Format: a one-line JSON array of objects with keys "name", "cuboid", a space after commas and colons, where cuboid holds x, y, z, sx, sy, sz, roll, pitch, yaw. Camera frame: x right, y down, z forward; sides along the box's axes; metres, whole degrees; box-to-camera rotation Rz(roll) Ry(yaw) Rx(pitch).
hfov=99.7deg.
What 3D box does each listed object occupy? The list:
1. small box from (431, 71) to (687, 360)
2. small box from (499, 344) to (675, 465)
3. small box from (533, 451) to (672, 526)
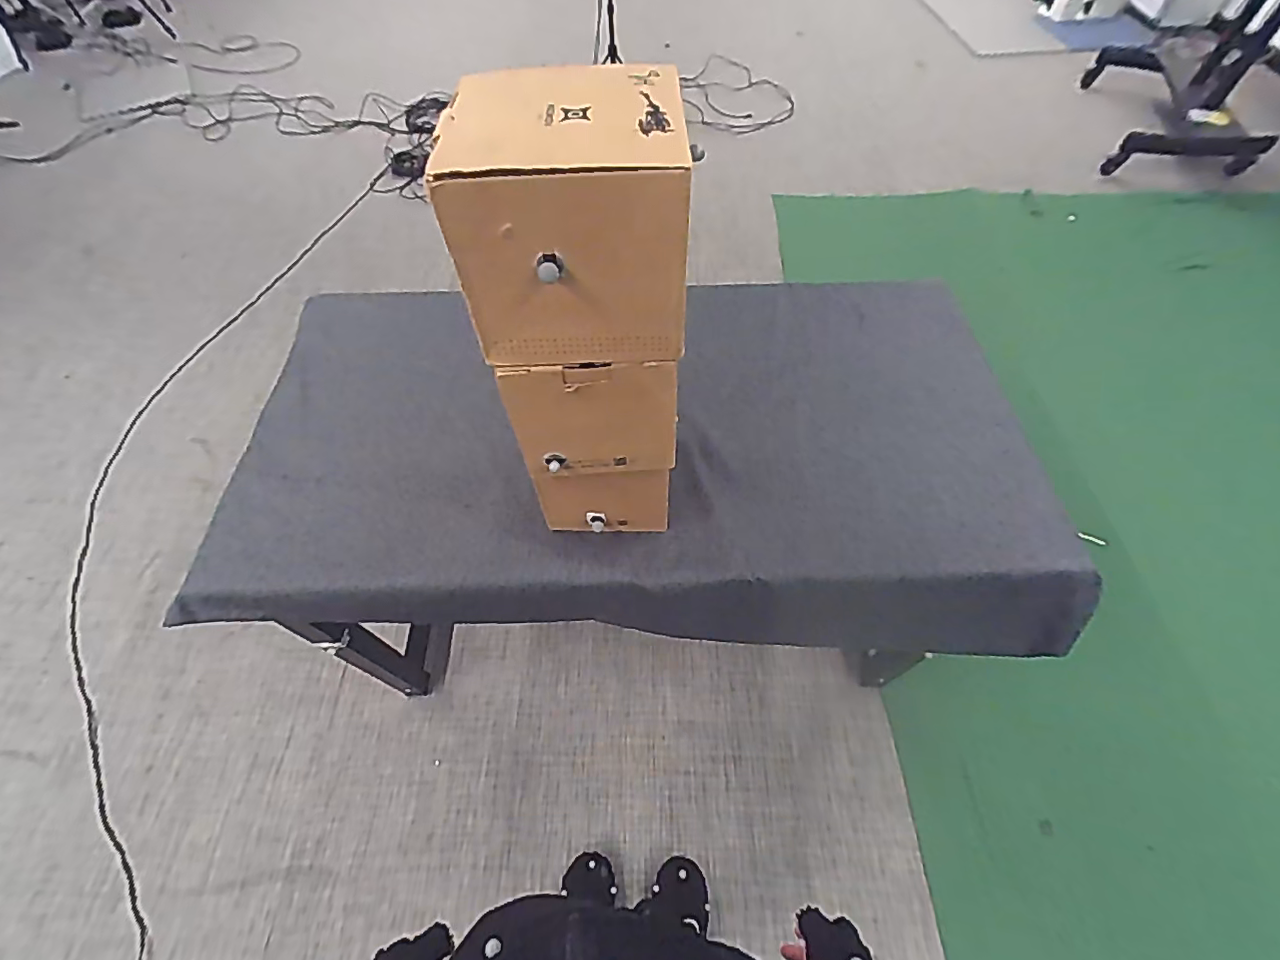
[{"name": "small box", "cuboid": [-0.055, -0.221, 0.470, 0.179, 0.176, 0.168, -5, 55, -1]}, {"name": "small box", "cuboid": [-0.052, -0.130, 0.603, 0.168, 0.176, 0.179, -7, 58, -1]}, {"name": "small box", "cuboid": [-0.042, -0.051, 0.747, 0.168, 0.176, 0.179, -2, 58, 2]}]
